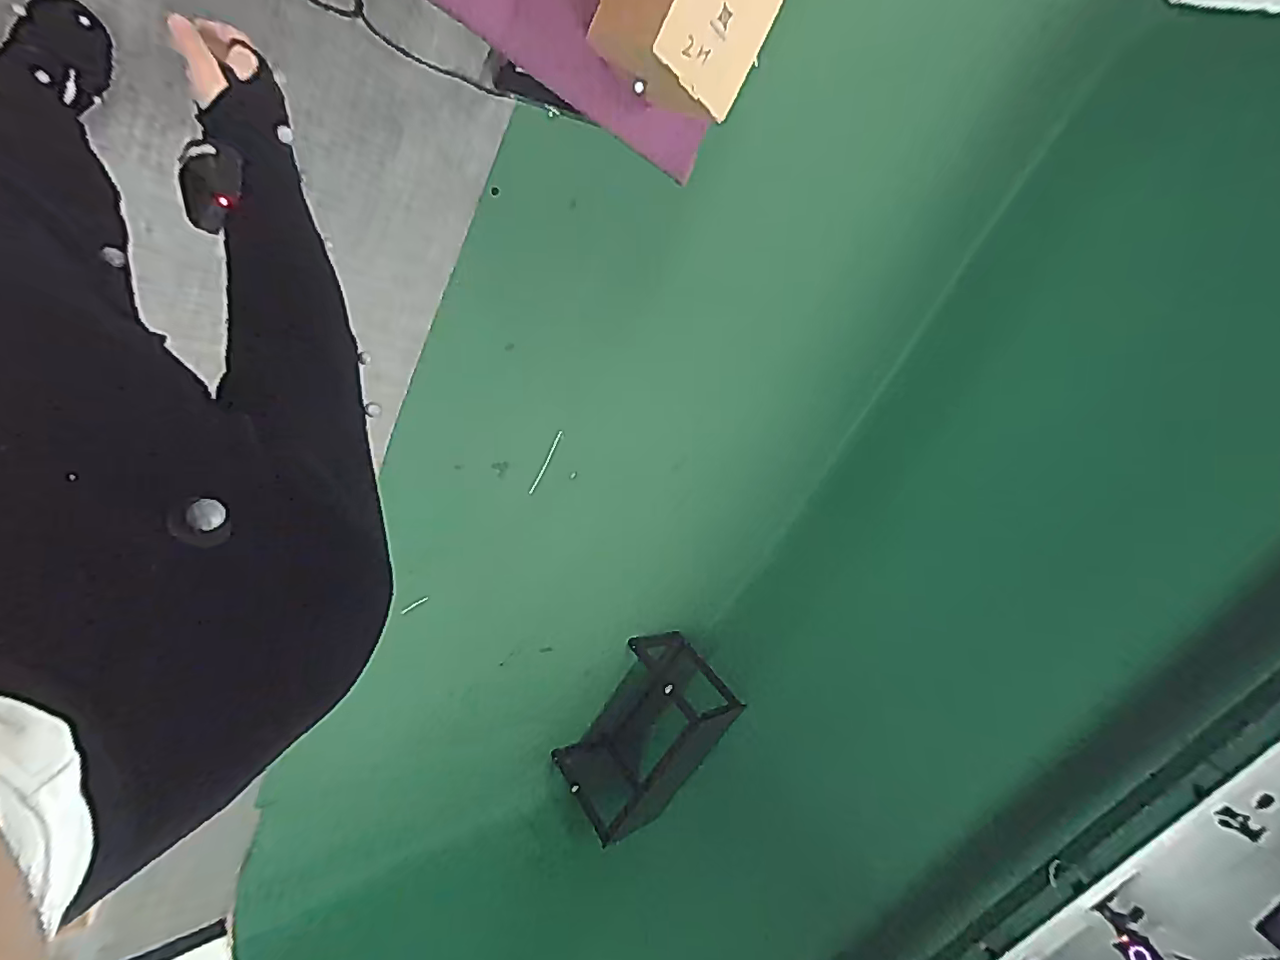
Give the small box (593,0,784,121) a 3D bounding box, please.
[{"bbox_3d":[0.062,-0.654,0.760,0.168,0.176,0.179,9,117,-48],"label":"small box"}]
